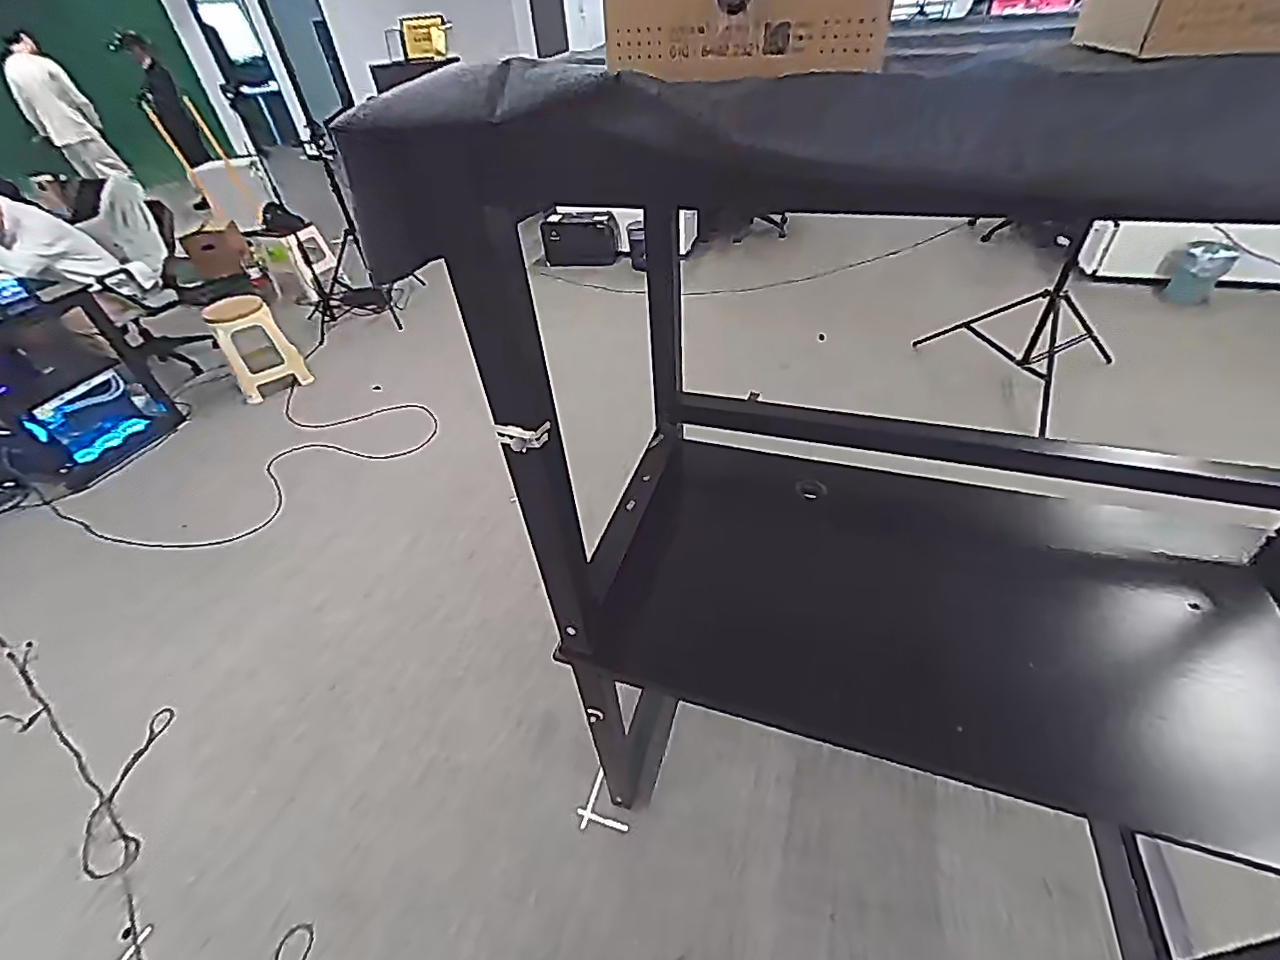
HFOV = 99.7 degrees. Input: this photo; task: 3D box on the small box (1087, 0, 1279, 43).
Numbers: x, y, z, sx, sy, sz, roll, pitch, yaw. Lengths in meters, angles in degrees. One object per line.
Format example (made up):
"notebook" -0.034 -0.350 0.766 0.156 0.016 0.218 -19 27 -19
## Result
"small box" 0.369 -0.330 0.270 0.168 0.176 0.179 11 42 18
